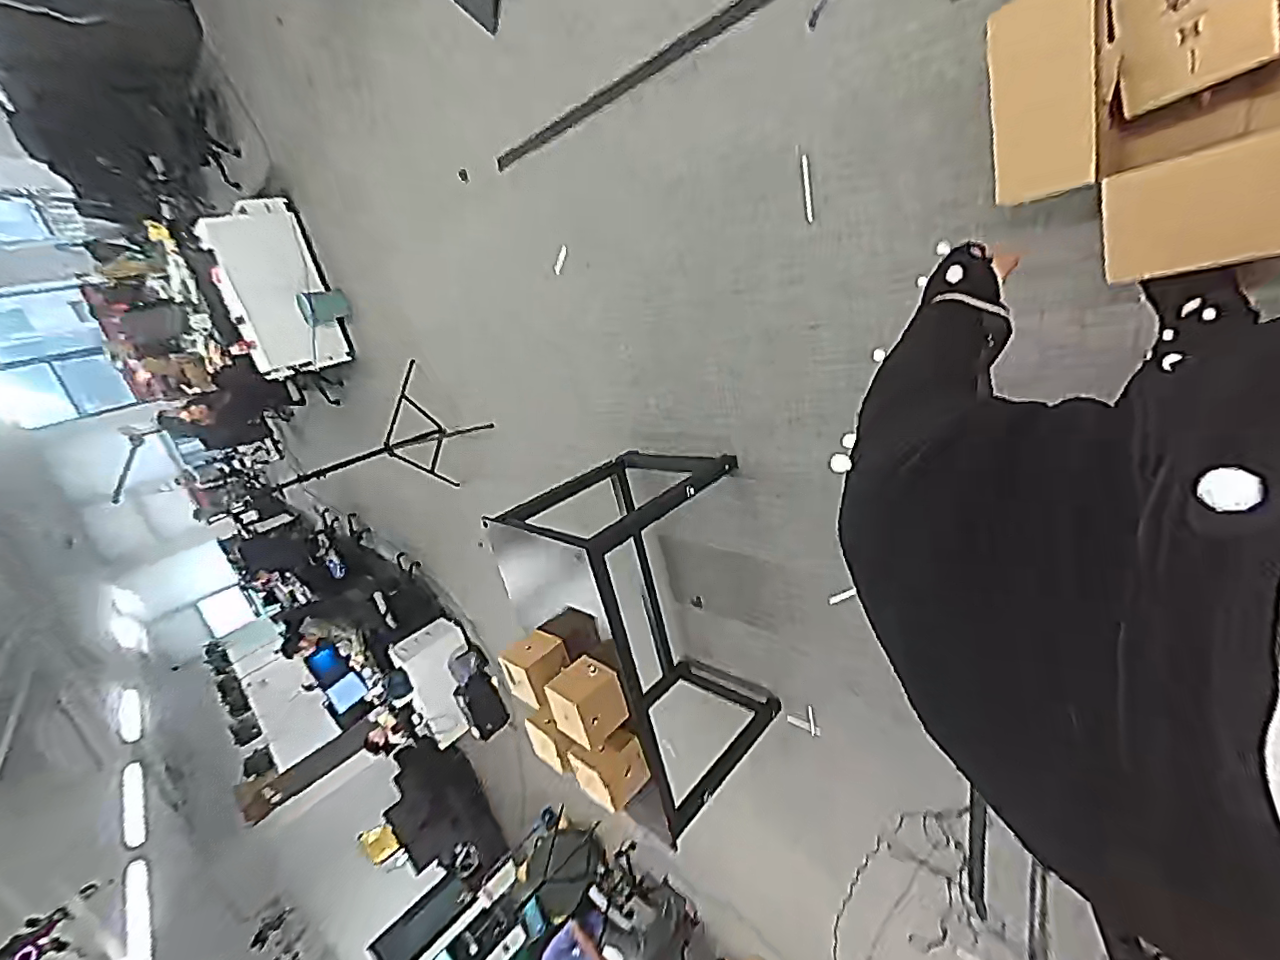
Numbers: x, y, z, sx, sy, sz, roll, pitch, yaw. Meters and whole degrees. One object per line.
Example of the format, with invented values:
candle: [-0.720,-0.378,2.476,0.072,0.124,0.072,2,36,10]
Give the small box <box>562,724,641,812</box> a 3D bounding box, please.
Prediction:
small box: [-0.115,0.915,1.750,0.179,0.176,0.168,-1,112,48]

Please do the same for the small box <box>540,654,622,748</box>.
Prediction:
small box: [-0.177,0.677,1.674,0.168,0.176,0.179,6,116,46]

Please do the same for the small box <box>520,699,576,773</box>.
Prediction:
small box: [-0.300,0.899,1.948,0.179,0.176,0.168,9,119,45]
